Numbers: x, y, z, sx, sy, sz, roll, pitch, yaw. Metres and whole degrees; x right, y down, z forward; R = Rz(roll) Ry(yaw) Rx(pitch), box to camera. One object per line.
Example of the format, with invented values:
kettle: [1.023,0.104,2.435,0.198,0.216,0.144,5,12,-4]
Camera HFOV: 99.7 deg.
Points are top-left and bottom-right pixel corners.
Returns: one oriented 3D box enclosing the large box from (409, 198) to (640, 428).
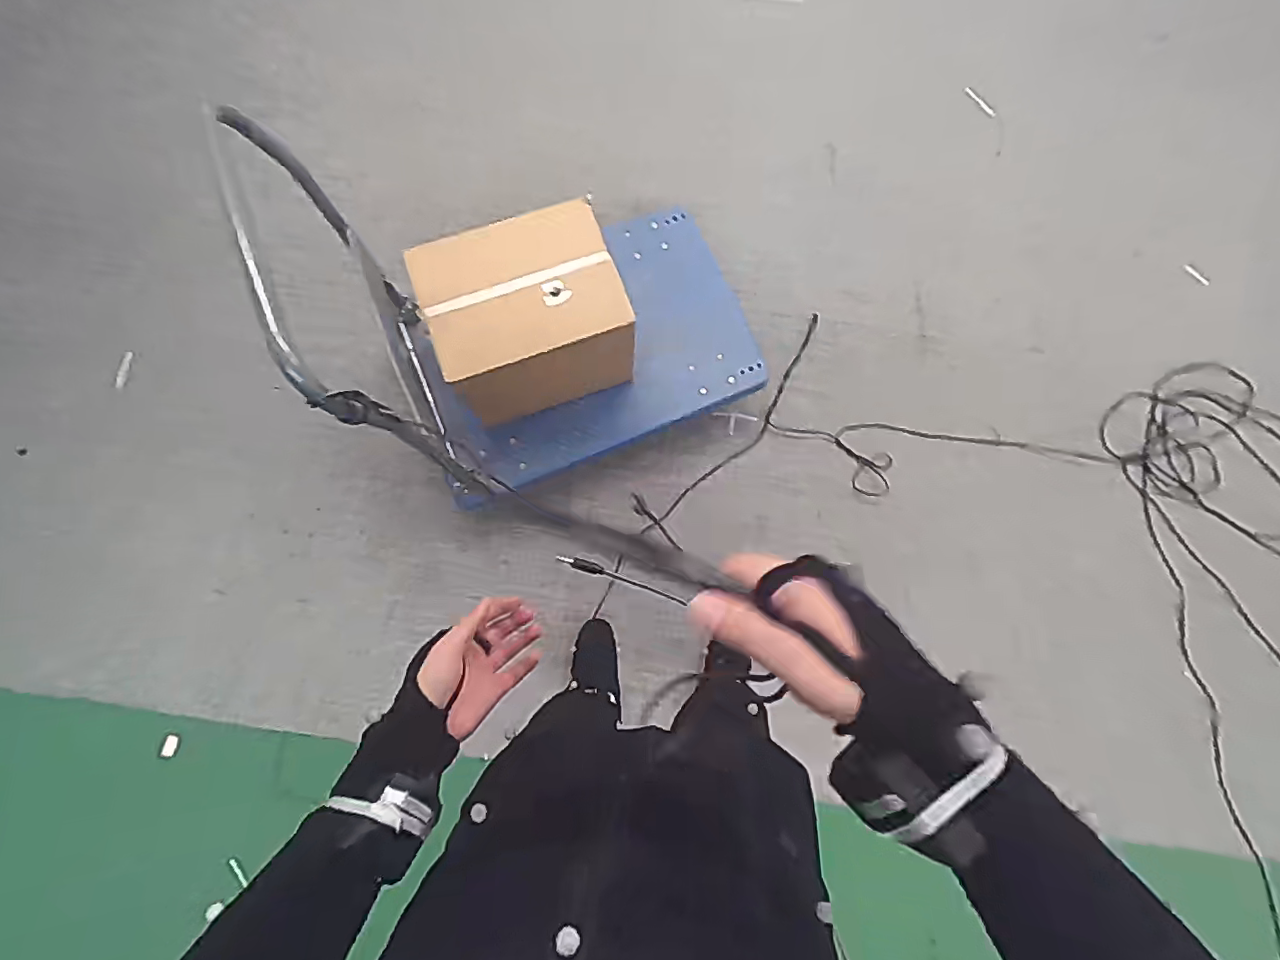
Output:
large box: [-0.243,-0.361,1.242,0.408,0.320,0.320,-20,80,-7]
